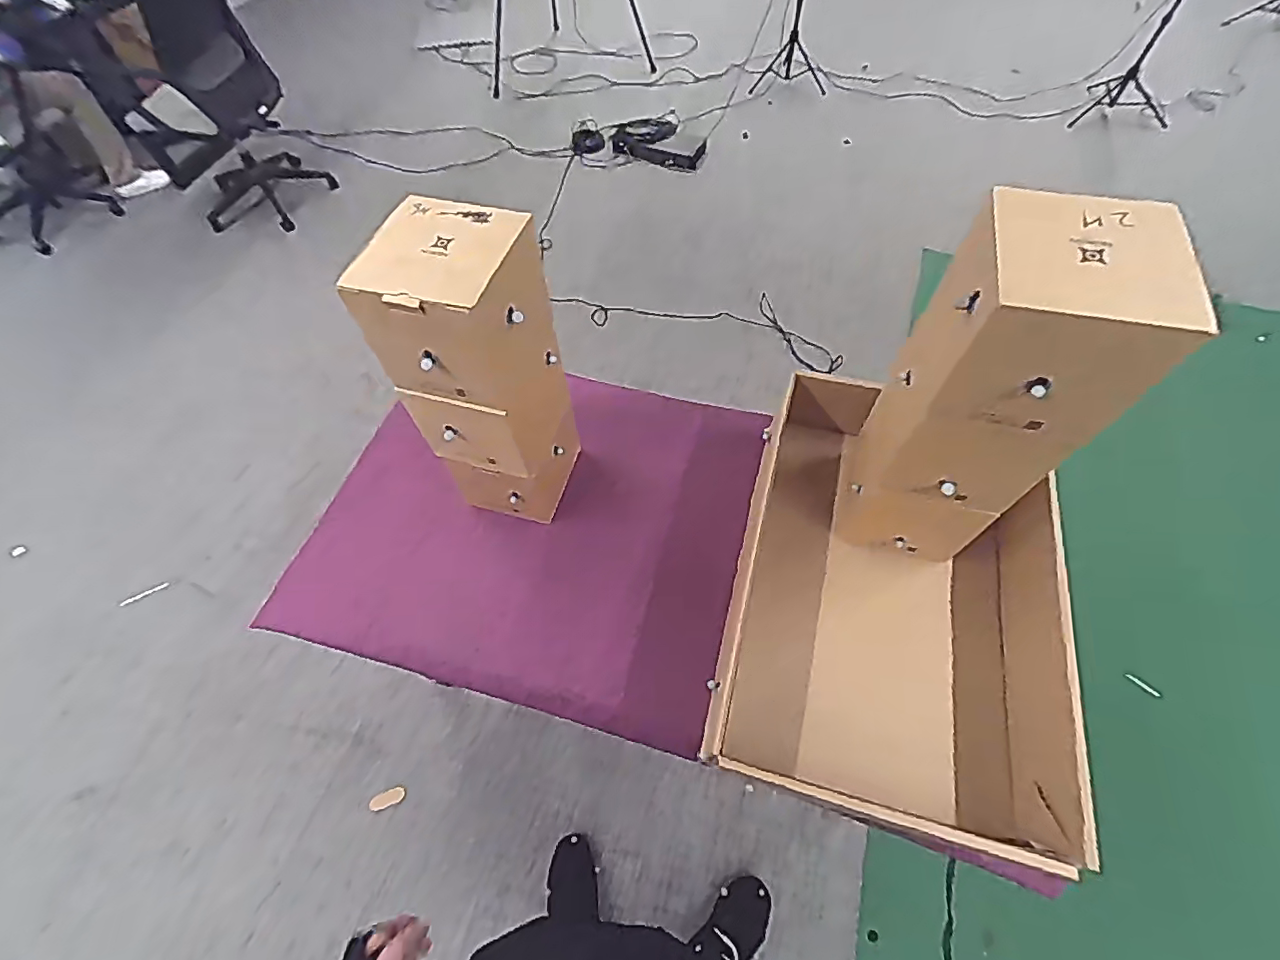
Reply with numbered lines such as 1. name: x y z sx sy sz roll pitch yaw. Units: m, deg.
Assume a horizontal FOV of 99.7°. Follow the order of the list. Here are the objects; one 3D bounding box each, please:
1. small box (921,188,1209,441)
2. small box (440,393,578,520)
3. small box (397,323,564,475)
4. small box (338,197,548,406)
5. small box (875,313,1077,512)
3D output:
1. small box: 0.409 -0.163 0.557 0.168 0.176 0.179 13 62 10
2. small box: -0.218 -0.051 0.962 0.168 0.176 0.179 14 60 9
3. small box: -0.225 -0.131 0.822 0.168 0.176 0.179 13 60 9
4. small box: -0.227 -0.219 0.683 0.168 0.176 0.179 13 61 9
5. small box: 0.417 -0.084 0.702 0.168 0.176 0.179 11 62 10
